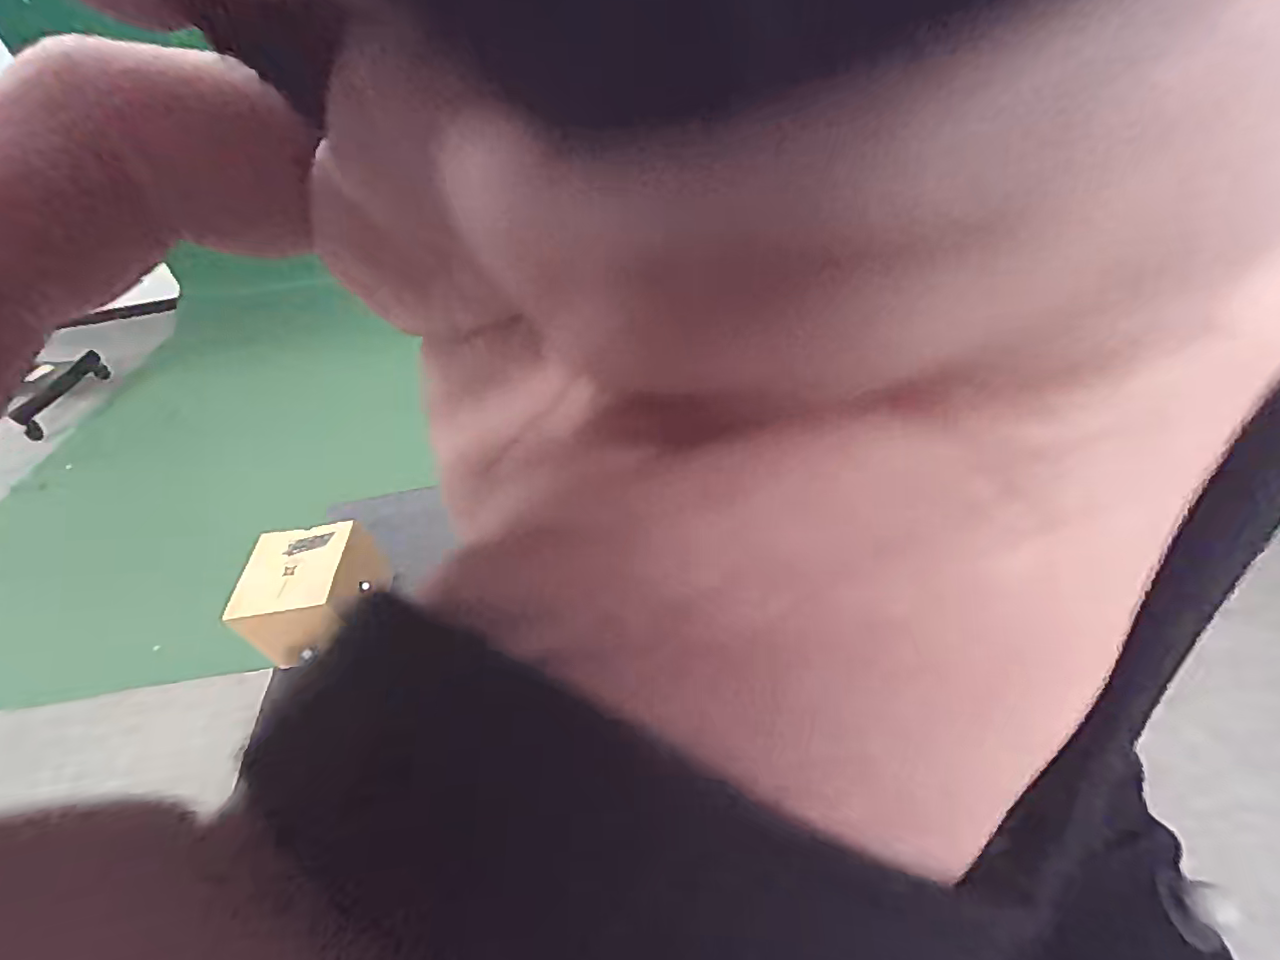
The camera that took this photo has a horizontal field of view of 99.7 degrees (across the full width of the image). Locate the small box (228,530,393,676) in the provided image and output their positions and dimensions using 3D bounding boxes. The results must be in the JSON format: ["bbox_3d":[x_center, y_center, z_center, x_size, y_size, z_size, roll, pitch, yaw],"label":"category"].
[{"bbox_3d":[-0.559,0.216,0.950,0.168,0.176,0.179,-10,46,-1],"label":"small box"}]
